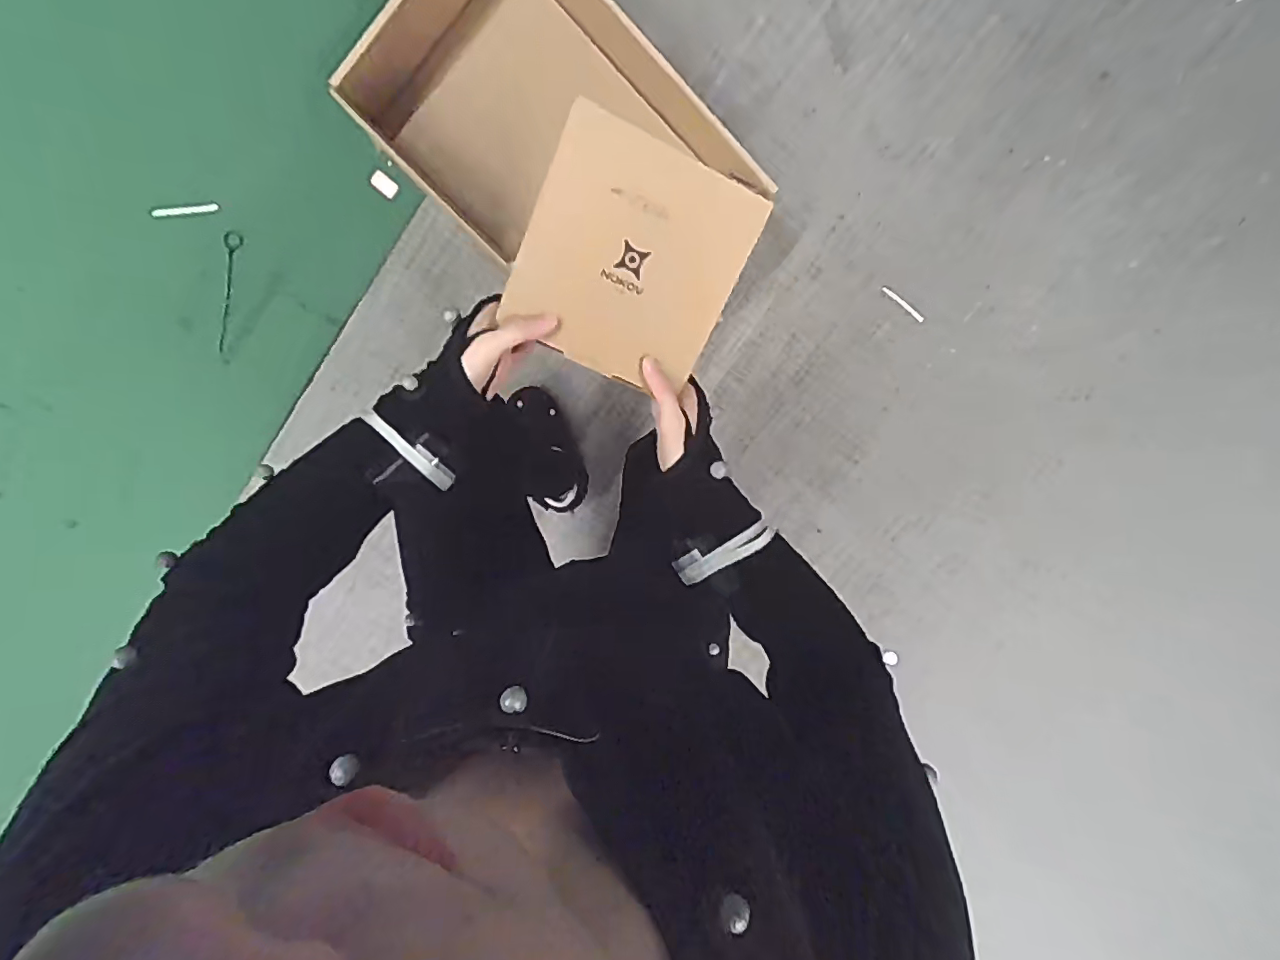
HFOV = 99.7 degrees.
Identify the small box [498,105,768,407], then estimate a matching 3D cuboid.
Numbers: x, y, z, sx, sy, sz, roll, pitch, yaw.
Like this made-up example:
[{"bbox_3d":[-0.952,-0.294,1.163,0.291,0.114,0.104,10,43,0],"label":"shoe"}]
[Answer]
[{"bbox_3d":[-0.011,-0.196,0.506,0.168,0.176,0.179,24,108,-12],"label":"small box"}]
